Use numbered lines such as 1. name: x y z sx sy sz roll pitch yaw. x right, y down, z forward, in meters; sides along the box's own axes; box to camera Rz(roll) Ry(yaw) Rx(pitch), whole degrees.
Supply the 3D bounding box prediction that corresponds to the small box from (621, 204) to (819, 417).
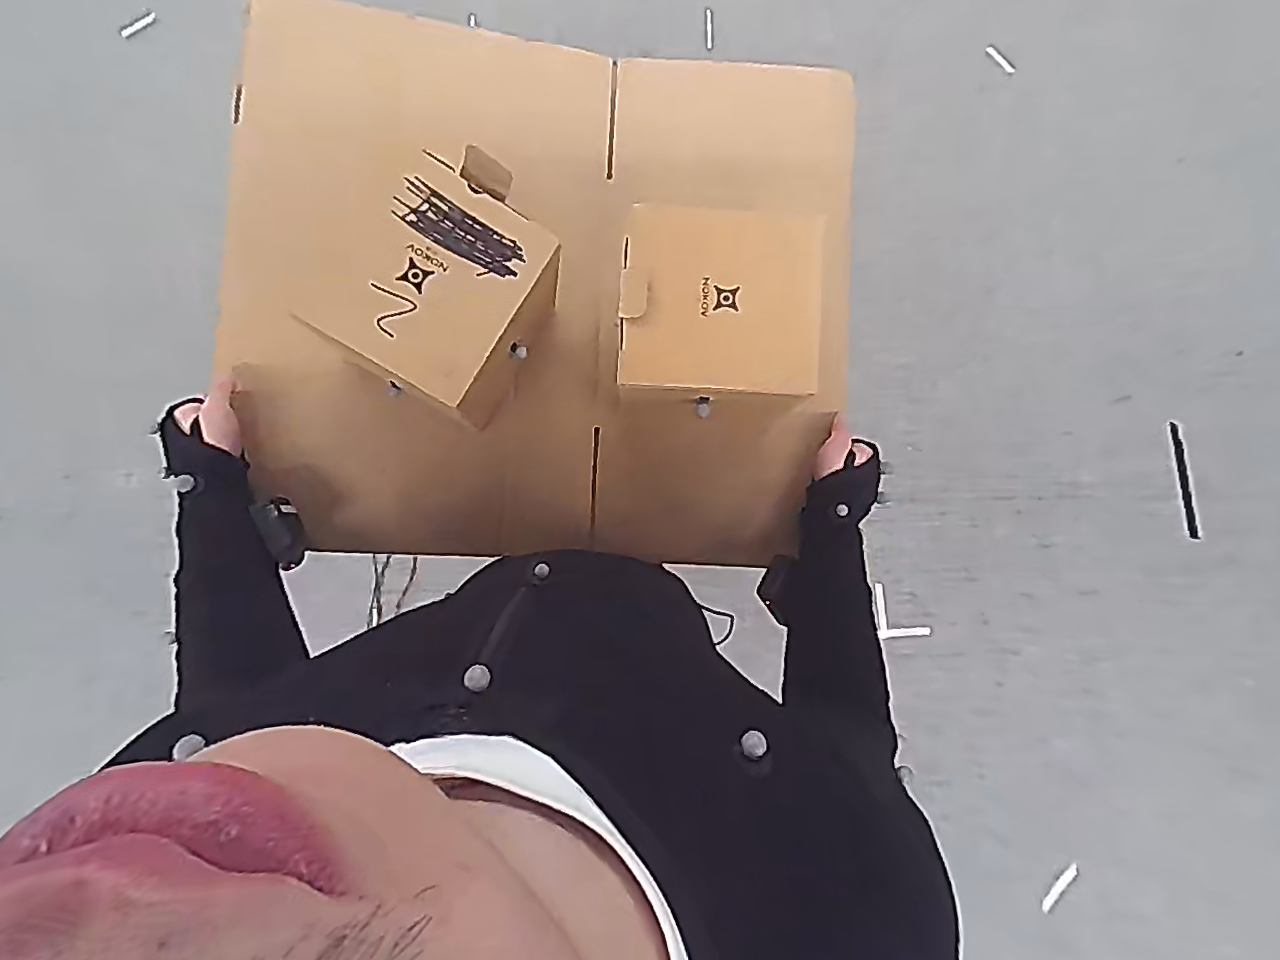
1. small box: 0.073 -0.162 0.570 0.179 0.176 0.168 3 87 0
